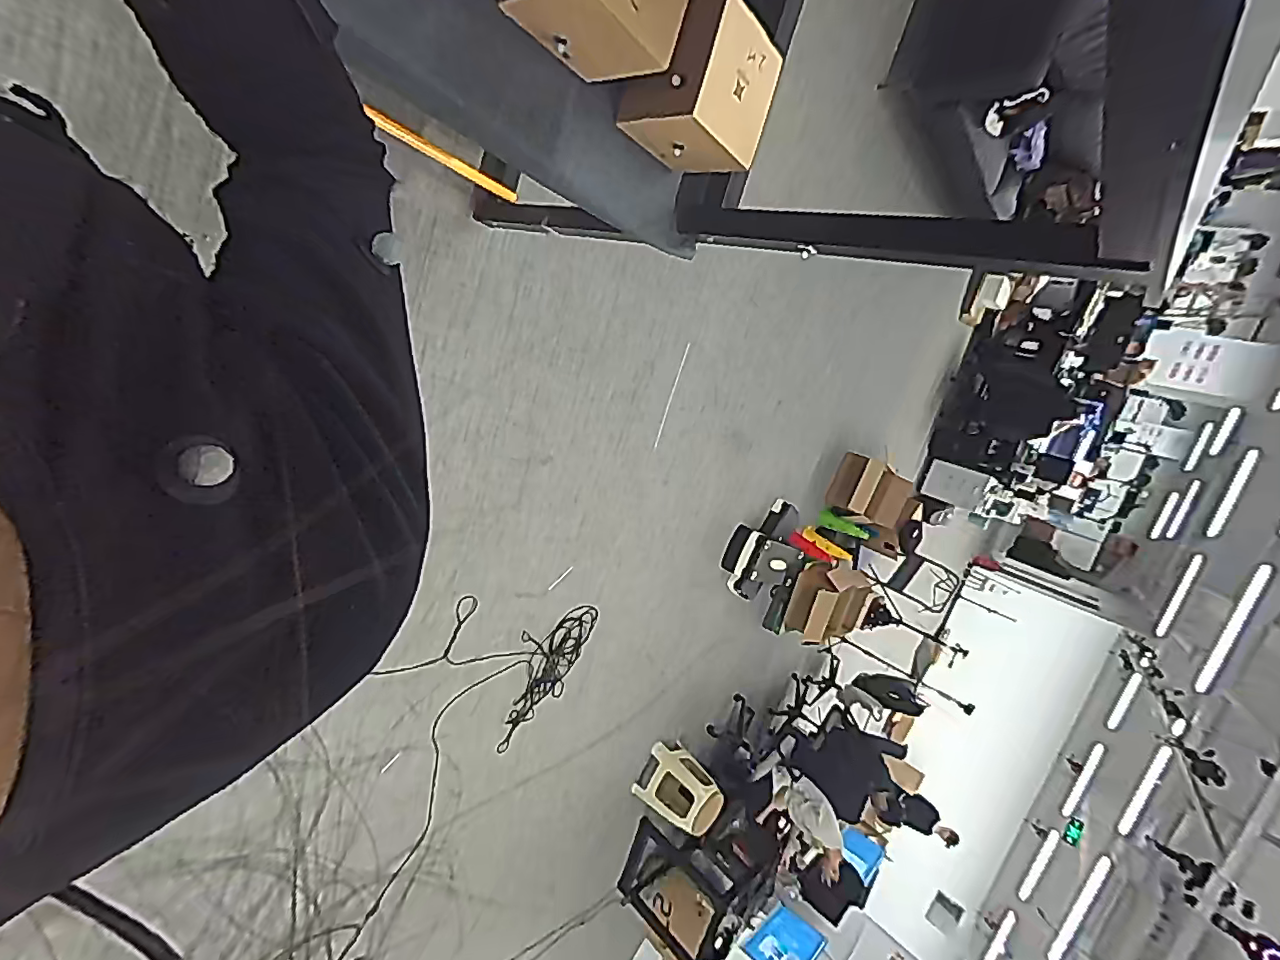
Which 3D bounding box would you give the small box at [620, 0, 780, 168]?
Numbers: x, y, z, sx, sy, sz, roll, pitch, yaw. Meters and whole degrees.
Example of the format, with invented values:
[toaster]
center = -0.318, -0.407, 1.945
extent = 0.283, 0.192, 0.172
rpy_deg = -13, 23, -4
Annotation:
[small box]
center = 0.091, -0.630, 0.869
extent = 0.168, 0.176, 0.179
rpy_deg = 4, 107, -51
